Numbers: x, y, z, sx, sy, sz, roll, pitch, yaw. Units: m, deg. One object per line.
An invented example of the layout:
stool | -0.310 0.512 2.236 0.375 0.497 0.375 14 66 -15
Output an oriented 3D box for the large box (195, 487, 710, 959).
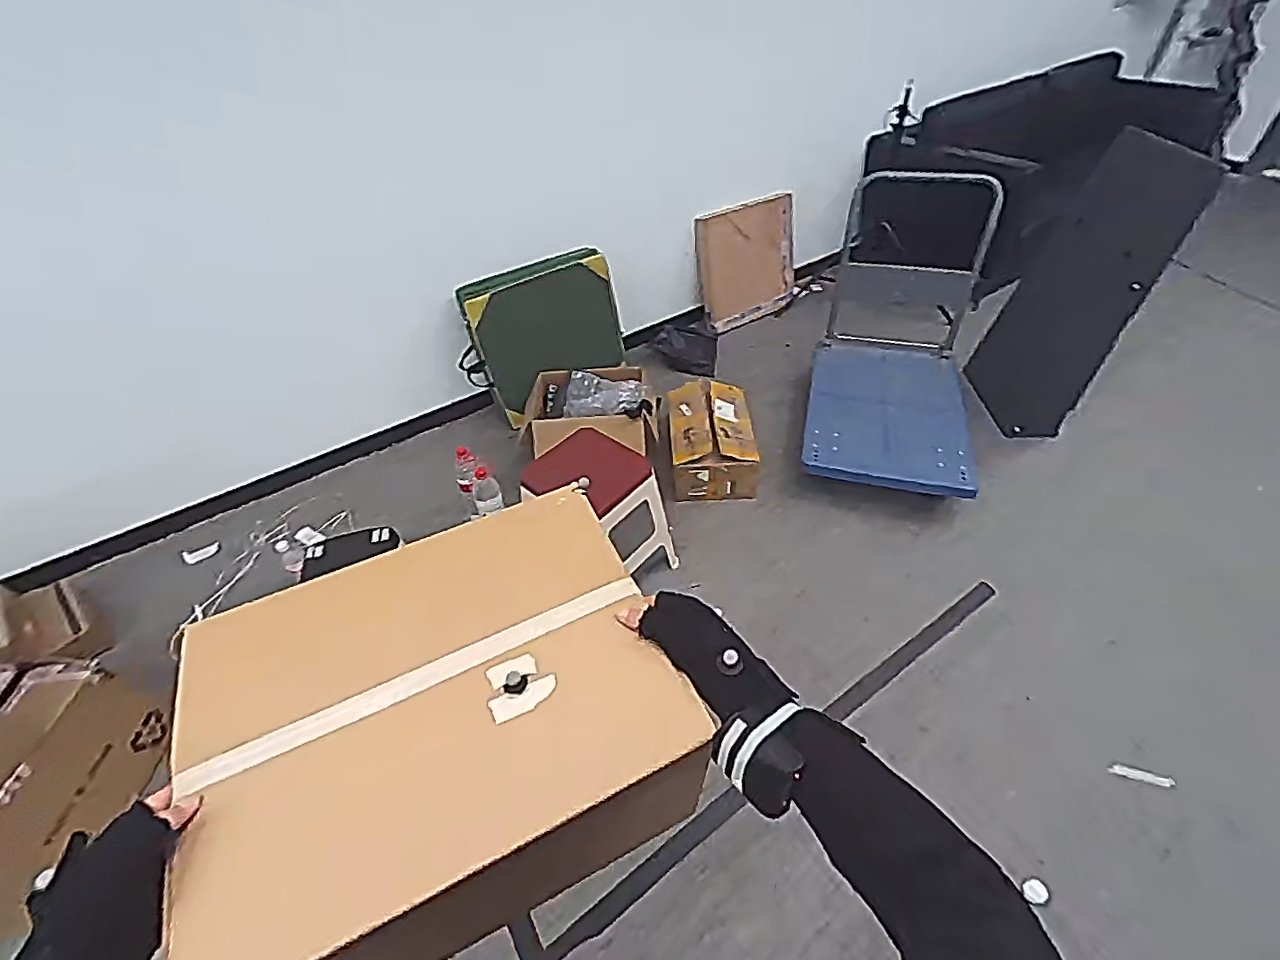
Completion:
large box | -0.178 0.274 0.609 0.408 0.320 0.320 -20 51 -16
